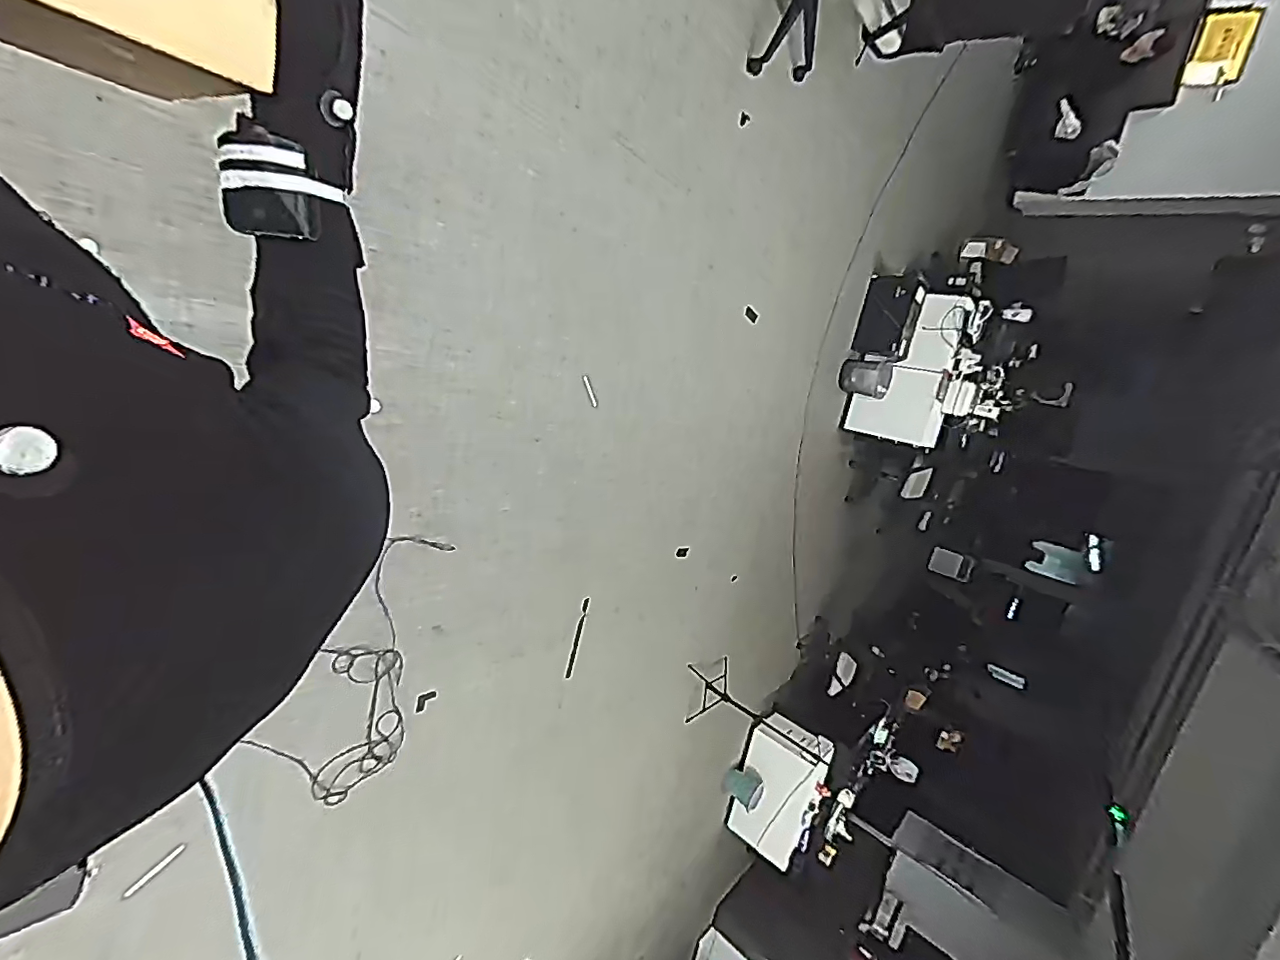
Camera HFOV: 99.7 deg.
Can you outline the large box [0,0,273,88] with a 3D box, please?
[{"bbox_3d":[-0.455,-0.455,0.259,0.408,0.320,0.320,-7,118,-50],"label":"large box"}]
